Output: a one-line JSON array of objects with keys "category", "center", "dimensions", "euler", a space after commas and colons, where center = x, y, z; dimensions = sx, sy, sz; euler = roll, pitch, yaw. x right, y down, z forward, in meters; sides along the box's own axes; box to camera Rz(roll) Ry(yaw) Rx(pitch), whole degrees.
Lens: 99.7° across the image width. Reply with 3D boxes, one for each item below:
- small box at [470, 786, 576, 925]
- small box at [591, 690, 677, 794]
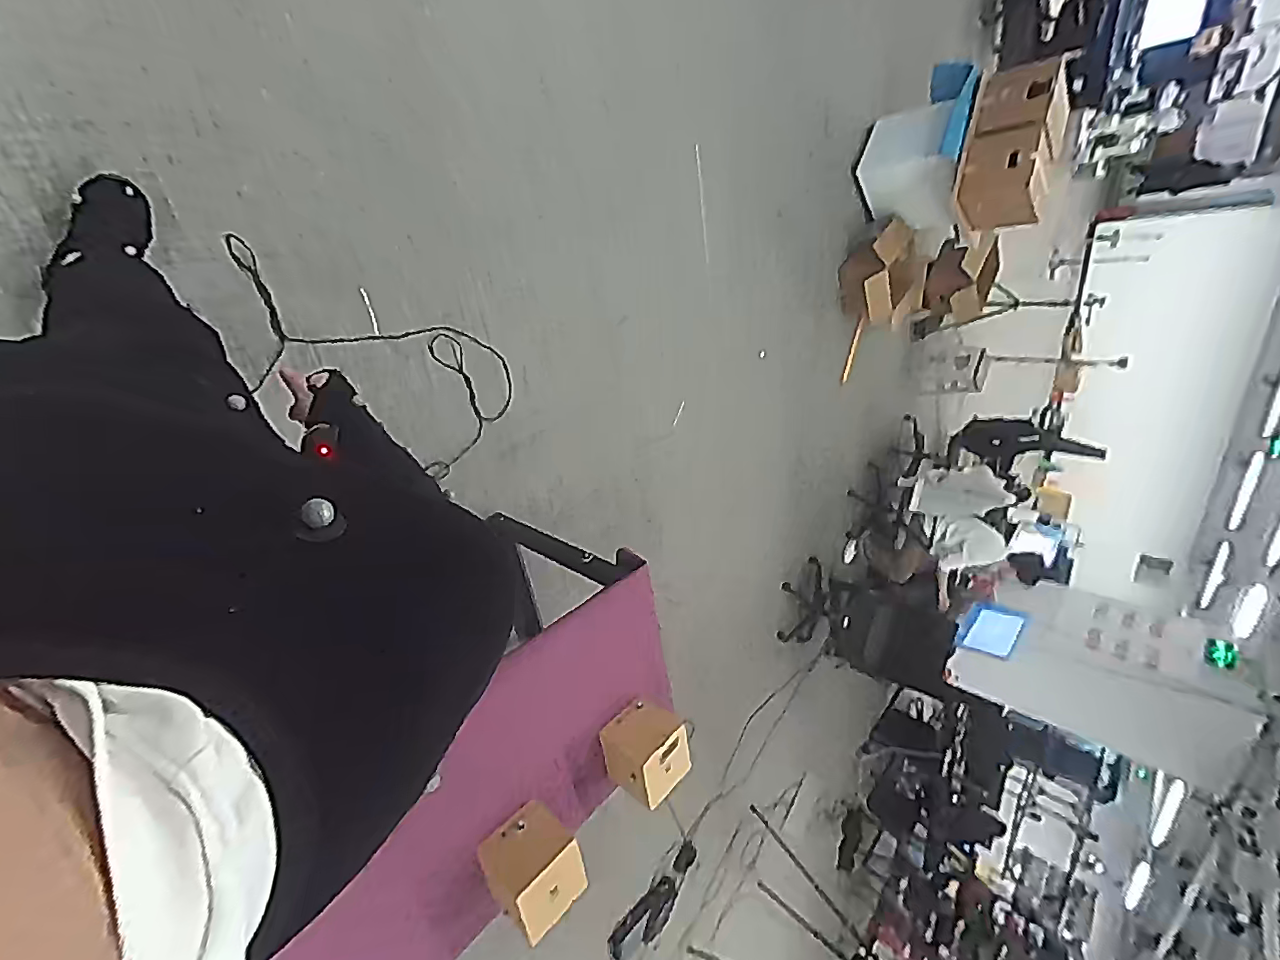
[{"category": "small box", "center": [-0.276, 0.876, 1.281], "dimensions": [0.168, 0.176, 0.179], "euler": [-28, 122, -40]}, {"category": "small box", "center": [-0.019, 0.716, 1.506], "dimensions": [0.168, 0.176, 0.179], "euler": [-29, 122, -38]}]
